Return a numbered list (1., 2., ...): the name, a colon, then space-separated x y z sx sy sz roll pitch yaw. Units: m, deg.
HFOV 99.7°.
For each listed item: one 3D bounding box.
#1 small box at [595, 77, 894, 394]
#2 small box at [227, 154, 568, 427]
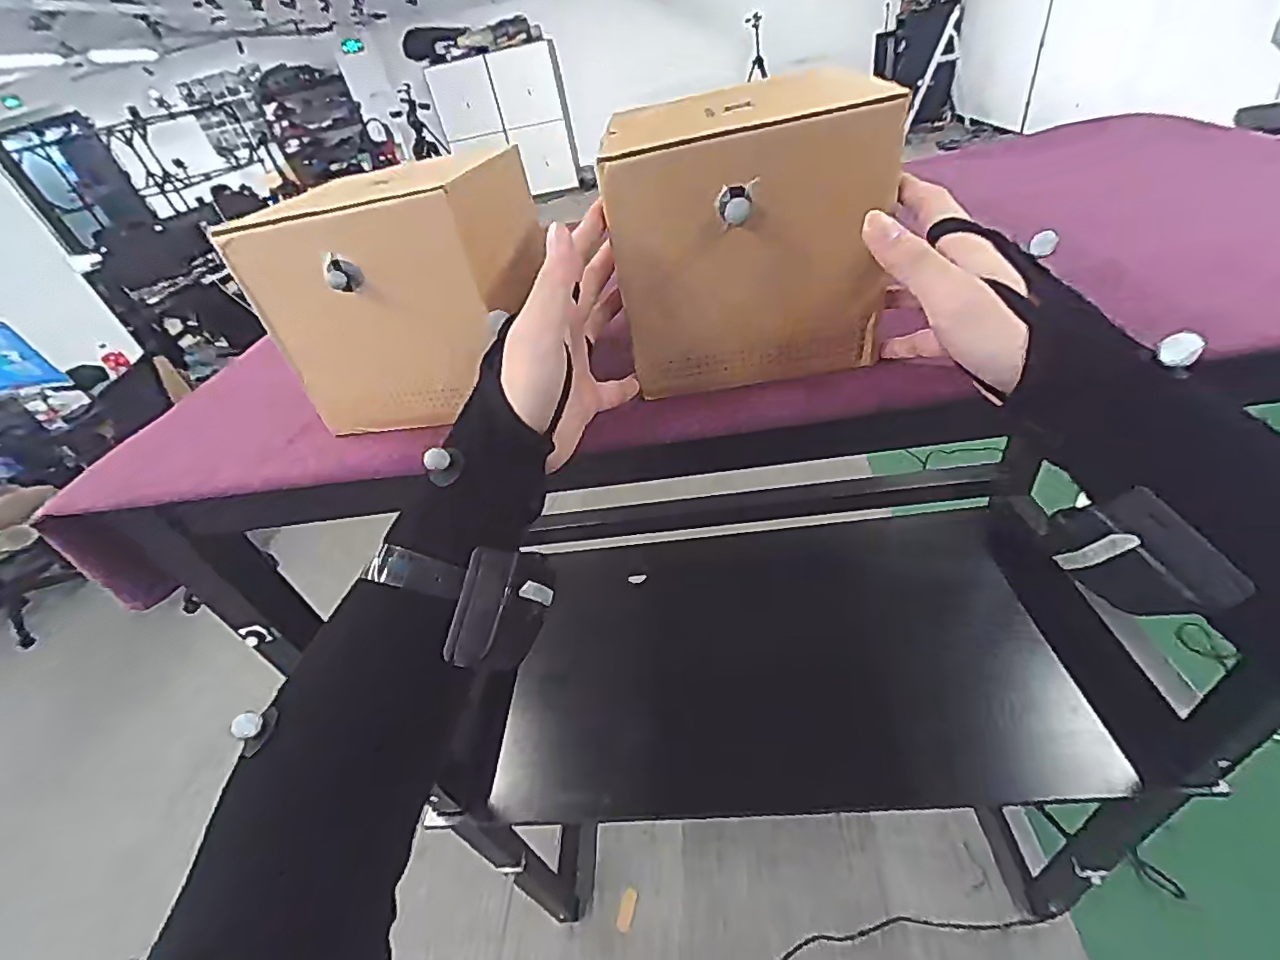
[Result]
1. small box: 0.074 -0.187 0.424 0.179 0.176 0.168 -8 40 8
2. small box: -0.179 -0.158 0.463 0.179 0.176 0.168 -4 38 11
